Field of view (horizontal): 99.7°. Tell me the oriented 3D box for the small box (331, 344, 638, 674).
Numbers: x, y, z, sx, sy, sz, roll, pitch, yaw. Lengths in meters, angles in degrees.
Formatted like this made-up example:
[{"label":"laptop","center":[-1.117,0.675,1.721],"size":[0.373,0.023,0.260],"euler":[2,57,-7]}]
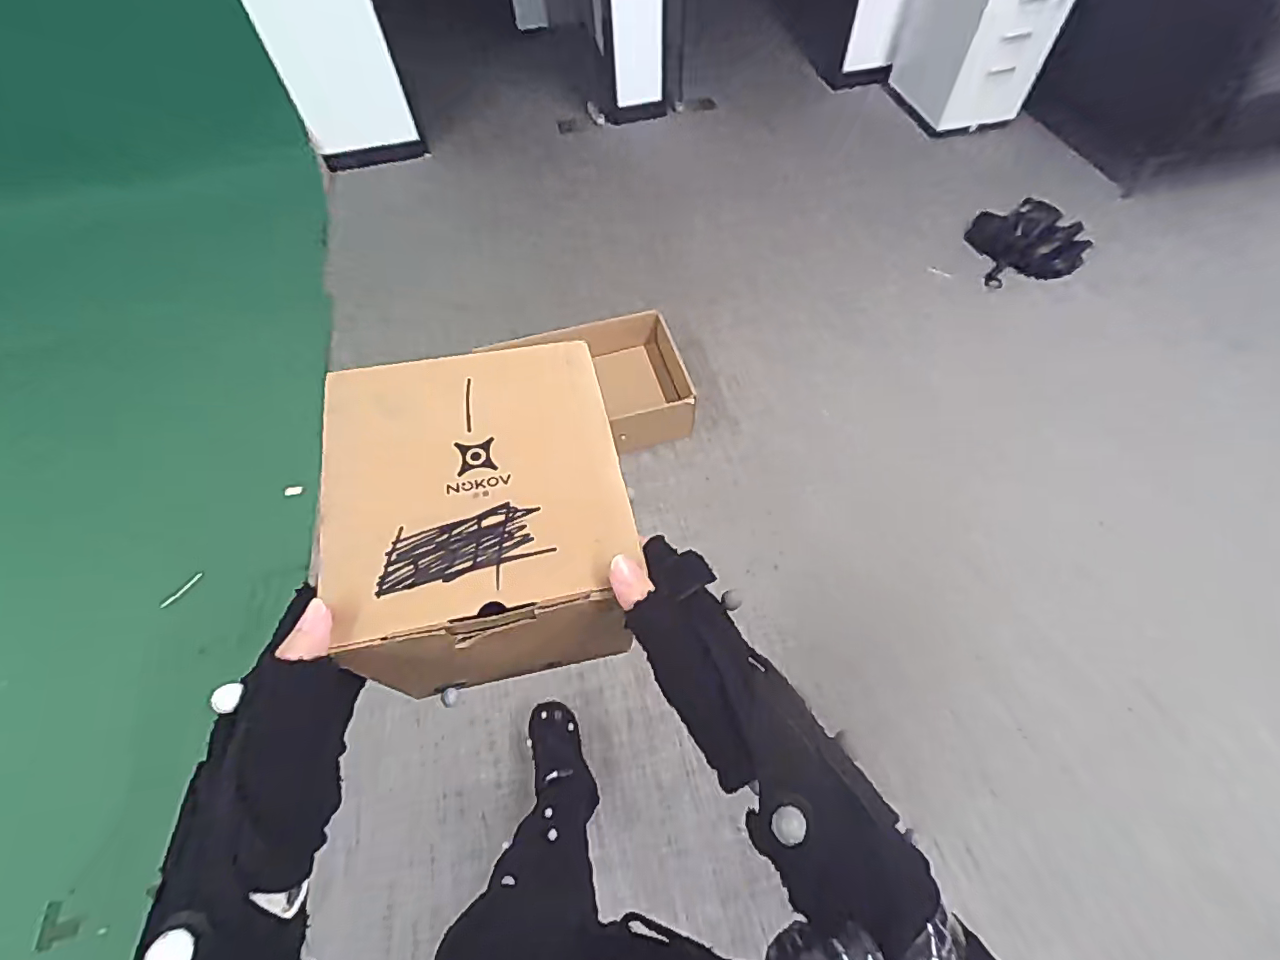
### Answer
[{"label":"small box","center":[-0.100,0.032,0.394],"size":[0.168,0.176,0.179],"euler":[-10,62,-9]}]
